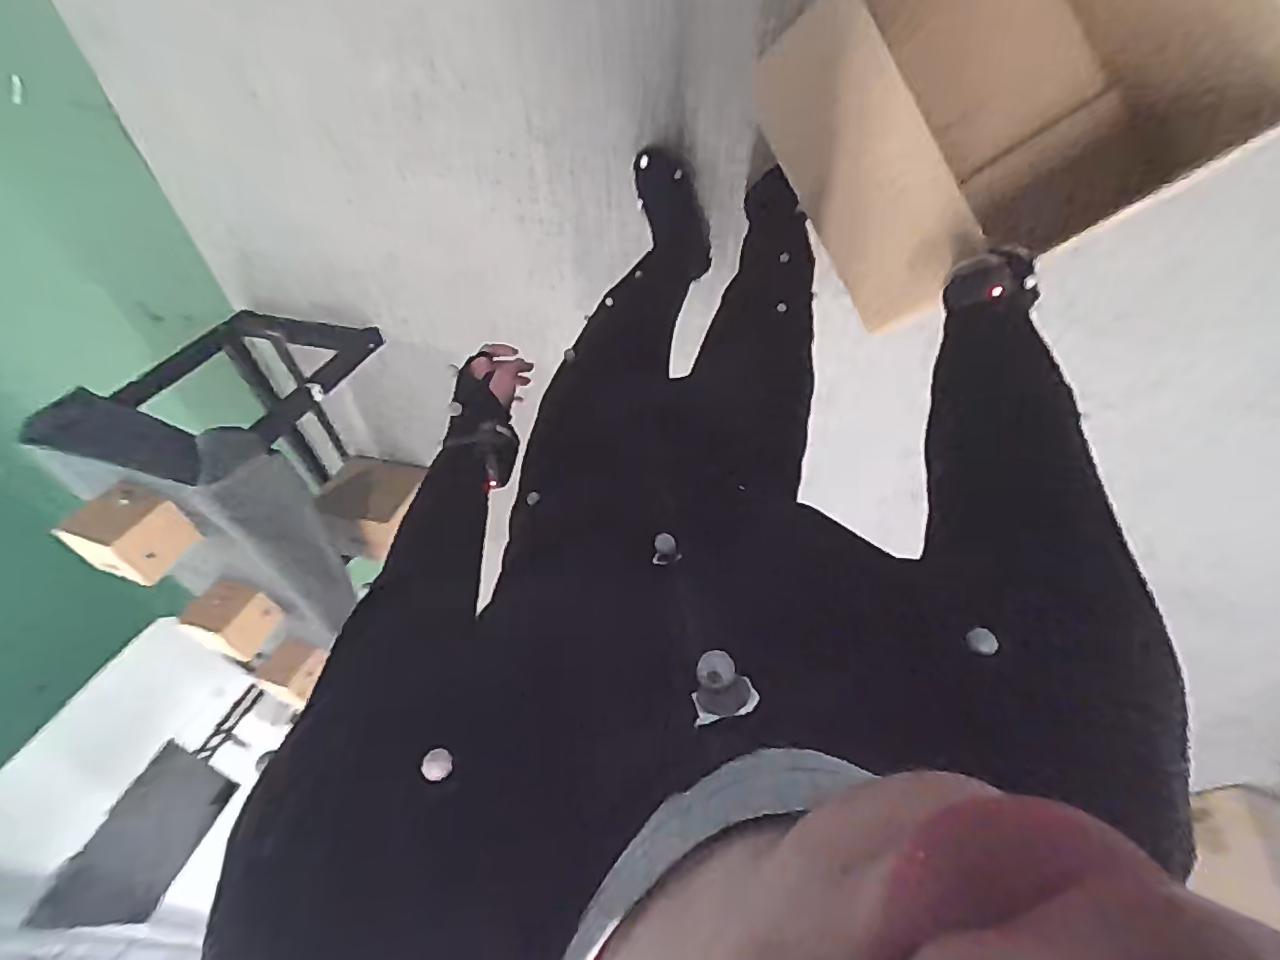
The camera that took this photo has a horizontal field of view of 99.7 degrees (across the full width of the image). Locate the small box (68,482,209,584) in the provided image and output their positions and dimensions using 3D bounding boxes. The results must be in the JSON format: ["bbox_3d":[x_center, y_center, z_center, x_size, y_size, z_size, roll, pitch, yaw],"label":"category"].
[{"bbox_3d":[-1.287,0.136,1.407,0.168,0.176,0.179,16,138,8],"label":"small box"}]

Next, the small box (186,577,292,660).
[{"bbox_3d":[-1.262,0.436,1.716,0.168,0.176,0.179,14,137,11],"label":"small box"}]

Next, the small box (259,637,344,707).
[{"bbox_3d":[-1.222,0.697,1.975,0.179,0.176,0.168,8,135,21],"label":"small box"}]
